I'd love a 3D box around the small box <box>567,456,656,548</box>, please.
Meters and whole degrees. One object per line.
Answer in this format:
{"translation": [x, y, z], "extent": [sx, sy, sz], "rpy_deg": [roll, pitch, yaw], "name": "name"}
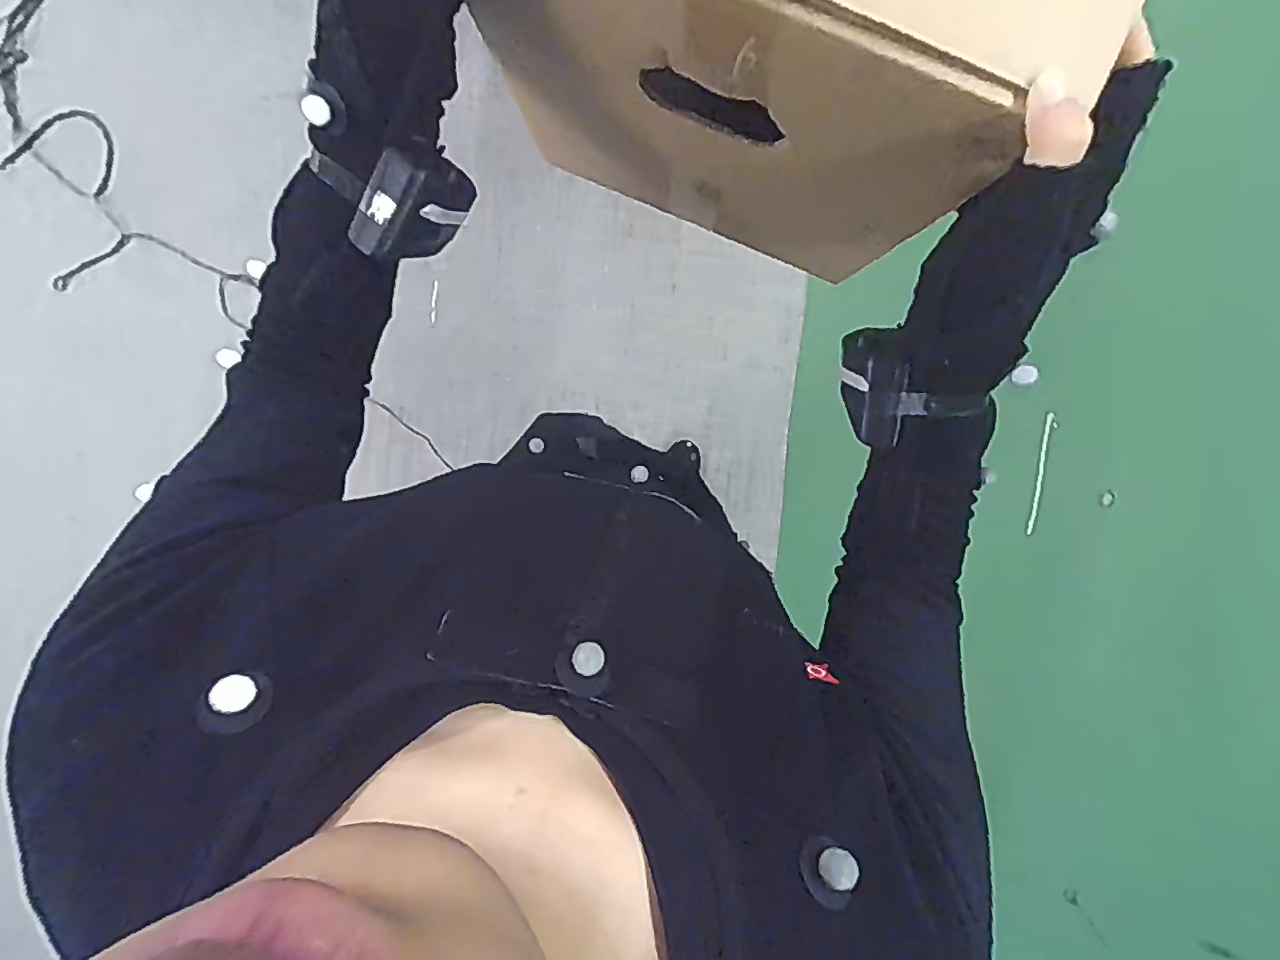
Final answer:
{"translation": [-0.081, 0.051, 1.414], "extent": [0.168, 0.176, 0.179], "rpy_deg": [29, 89, -12], "name": "small box"}
